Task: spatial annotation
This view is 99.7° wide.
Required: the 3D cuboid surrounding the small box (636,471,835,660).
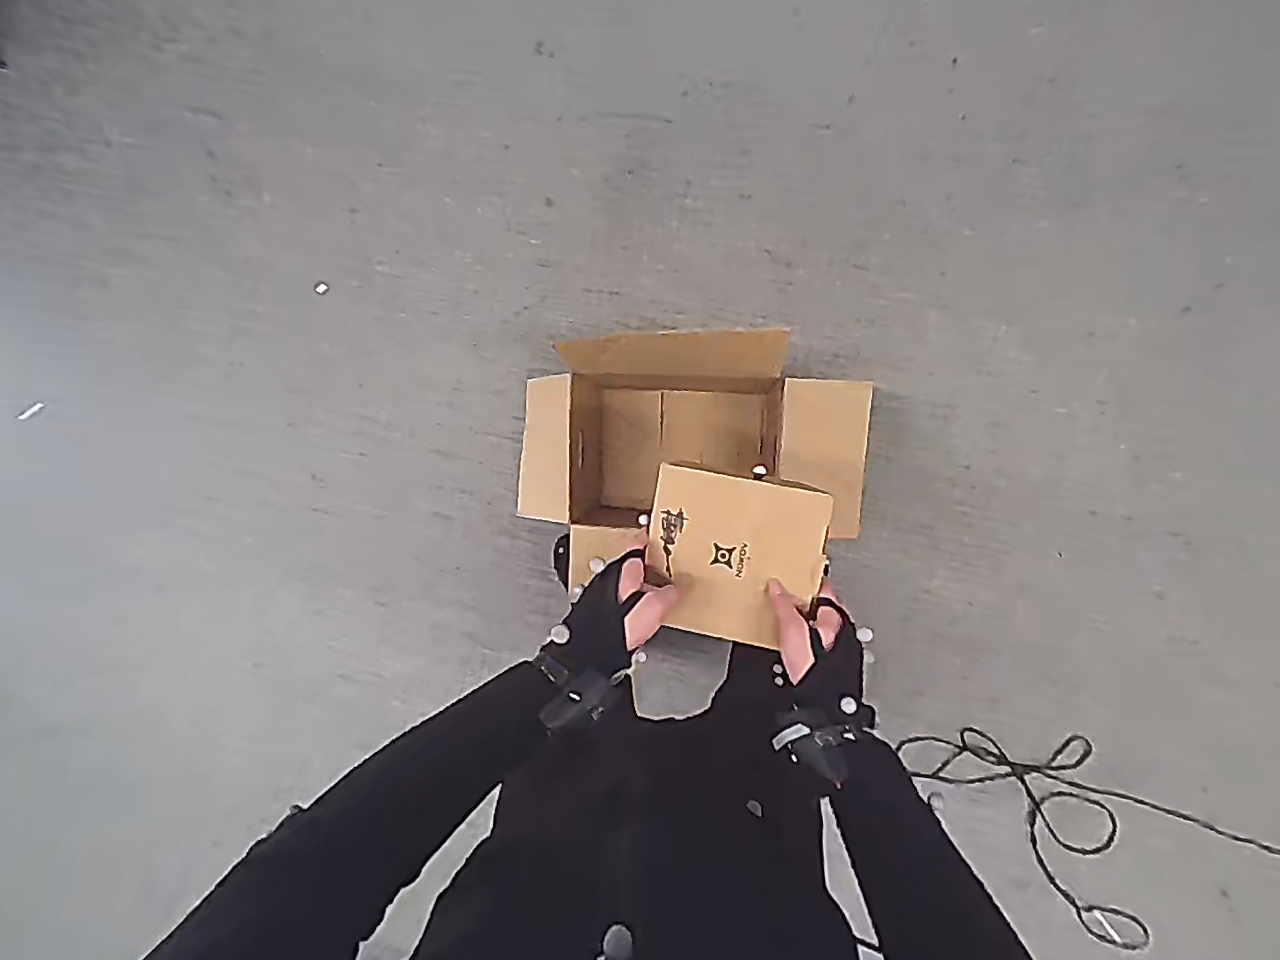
[{"bbox_3d":[0.105,0.084,0.631,0.179,0.176,0.168,11,94,7],"label":"small box"}]
